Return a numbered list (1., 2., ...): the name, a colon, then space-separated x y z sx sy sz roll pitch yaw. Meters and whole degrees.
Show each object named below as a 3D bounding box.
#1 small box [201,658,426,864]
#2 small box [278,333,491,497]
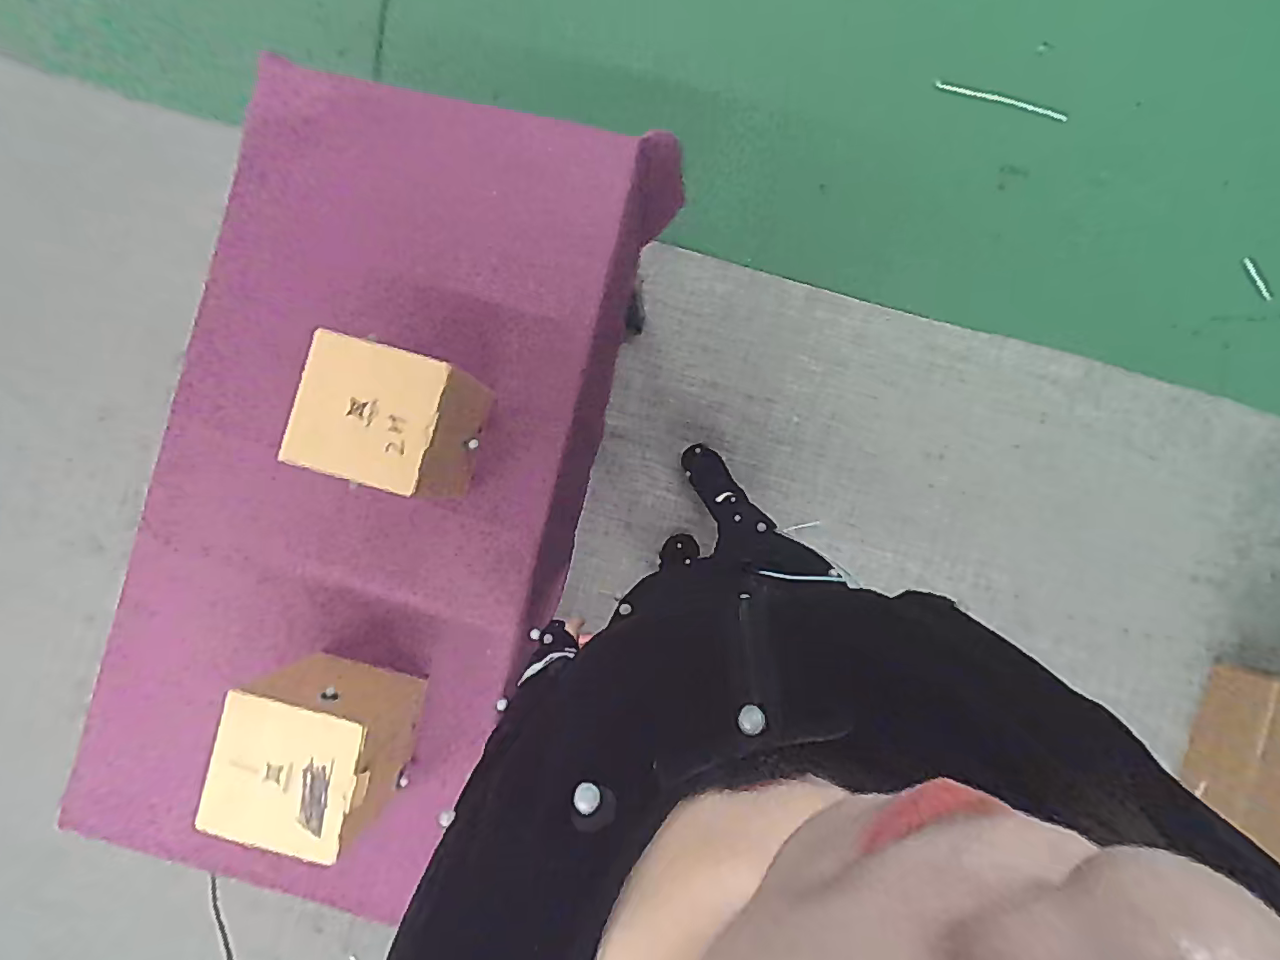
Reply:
1. small box: -0.411 0.351 0.711 0.179 0.176 0.168 12 88 5
2. small box: -0.326 -0.075 0.725 0.179 0.176 0.168 15 89 4
